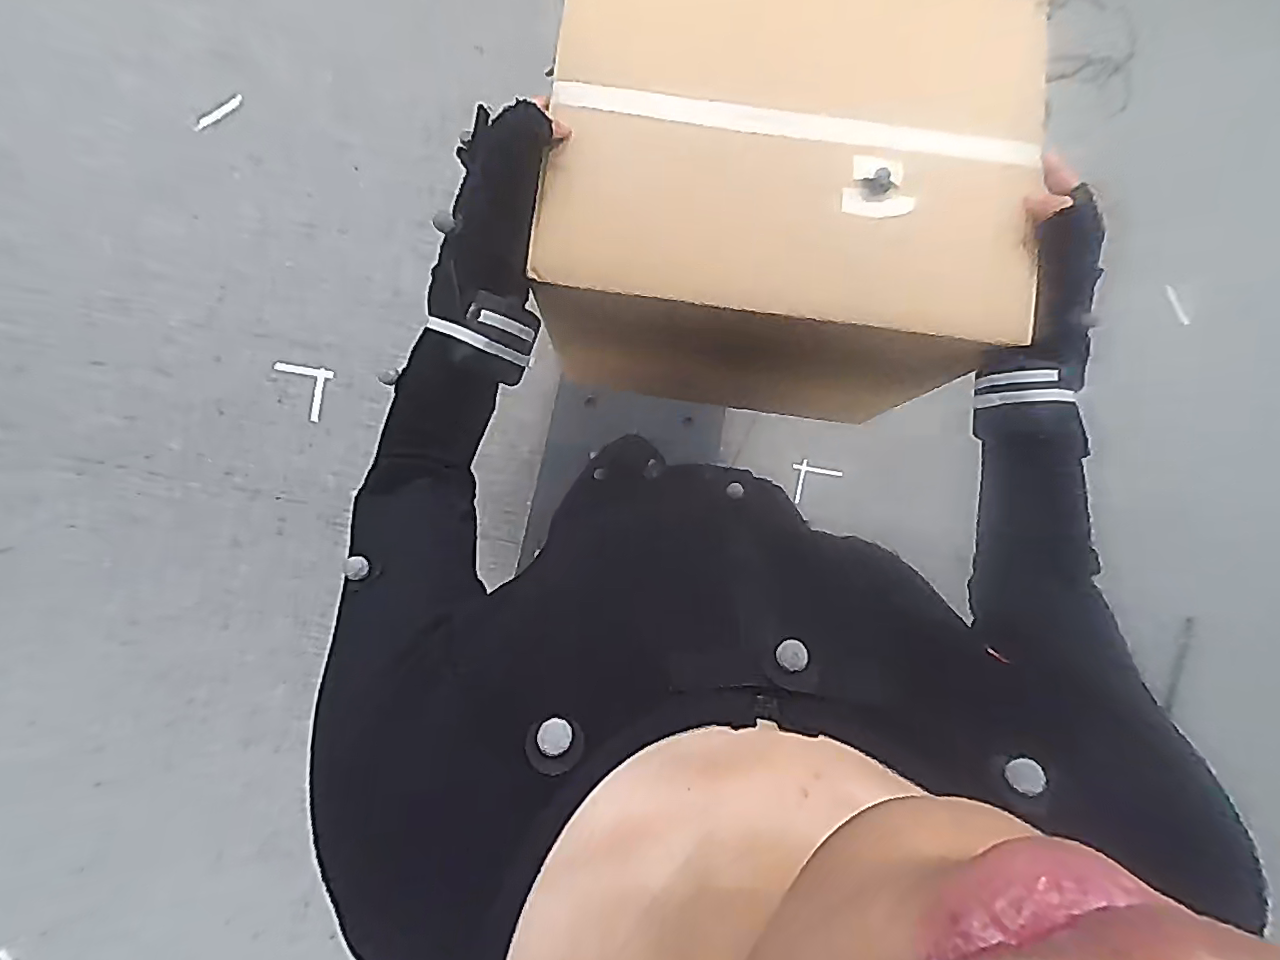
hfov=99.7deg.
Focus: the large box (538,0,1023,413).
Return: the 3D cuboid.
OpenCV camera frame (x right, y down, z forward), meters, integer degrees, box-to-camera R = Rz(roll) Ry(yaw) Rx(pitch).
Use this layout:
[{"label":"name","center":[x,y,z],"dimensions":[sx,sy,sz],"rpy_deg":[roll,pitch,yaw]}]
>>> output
[{"label":"large box","center":[0.120,-0.277,0.607],"dimensions":[0.408,0.320,0.320],"rpy_deg":[7,84,-2]}]
